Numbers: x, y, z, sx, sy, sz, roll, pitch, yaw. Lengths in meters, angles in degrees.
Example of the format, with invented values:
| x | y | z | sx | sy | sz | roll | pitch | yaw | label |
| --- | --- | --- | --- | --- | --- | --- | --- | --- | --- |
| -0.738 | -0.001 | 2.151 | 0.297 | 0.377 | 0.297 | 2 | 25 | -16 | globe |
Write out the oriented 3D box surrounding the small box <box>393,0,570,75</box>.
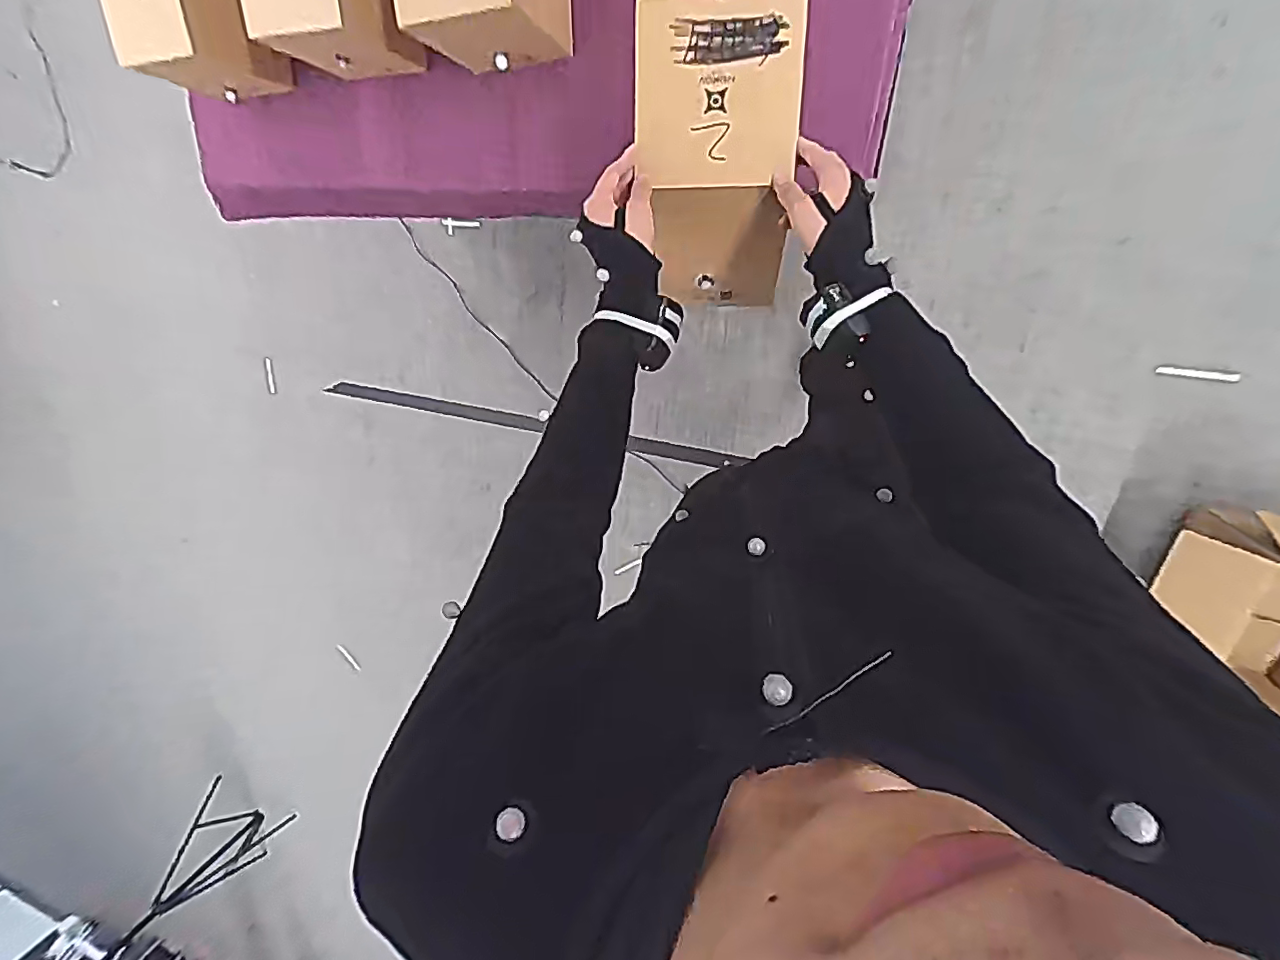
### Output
| x | y | z | sx | sy | sz | roll | pitch | yaw | label |
| --- | --- | --- | --- | --- | --- | --- | --- | --- | --- |
| -0.200 | -0.659 | 0.693 | 0.168 | 0.176 | 0.179 | 5 | 111 | 18 | small box |

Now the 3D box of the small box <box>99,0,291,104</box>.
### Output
| x | y | z | sx | sy | sz | roll | pitch | yaw | label |
| --- | --- | --- | --- | --- | --- | --- | --- | --- | --- |
| -0.690 | -0.721 | 0.844 | 0.168 | 0.176 | 0.179 | 7 | 110 | 18 | small box |

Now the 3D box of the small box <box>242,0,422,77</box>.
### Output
| x | y | z | sx | sy | sz | roll | pitch | yaw | label |
| --- | --- | --- | --- | --- | --- | --- | --- | --- | --- |
| -0.430 | -0.694 | 0.761 | 0.168 | 0.176 | 0.179 | 9 | 111 | 16 | small box |
